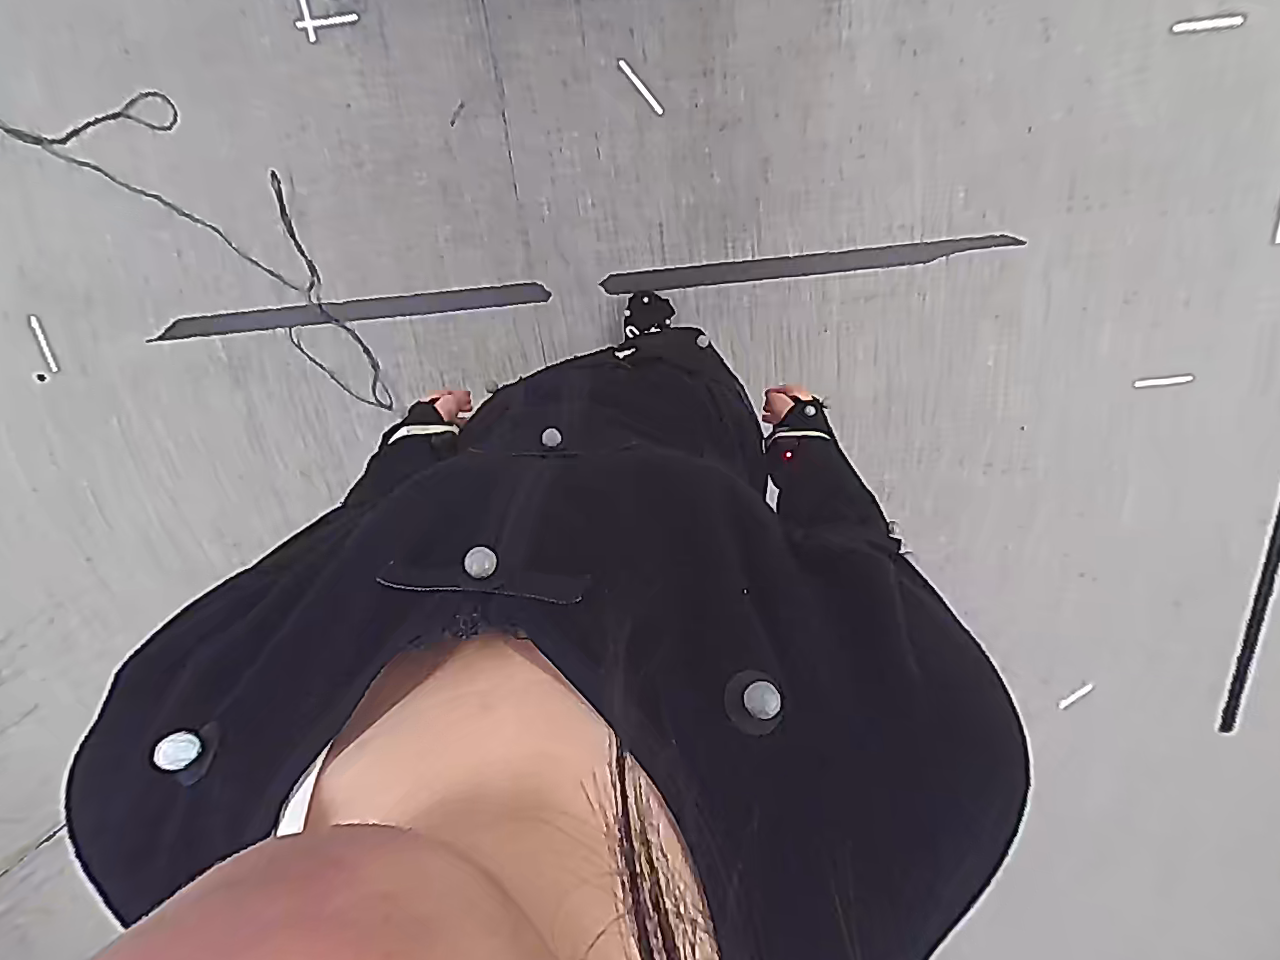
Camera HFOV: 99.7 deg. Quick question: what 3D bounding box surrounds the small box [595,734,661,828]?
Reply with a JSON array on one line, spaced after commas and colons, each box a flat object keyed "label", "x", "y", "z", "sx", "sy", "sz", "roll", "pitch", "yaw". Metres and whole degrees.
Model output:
[{"label": "small box", "x": -0.034, "y": 0.935, "z": 1.689, "sx": 0.168, "sy": 0.176, "sz": 0.179, "roll": -15, "pitch": 107, "yaw": 3}]
